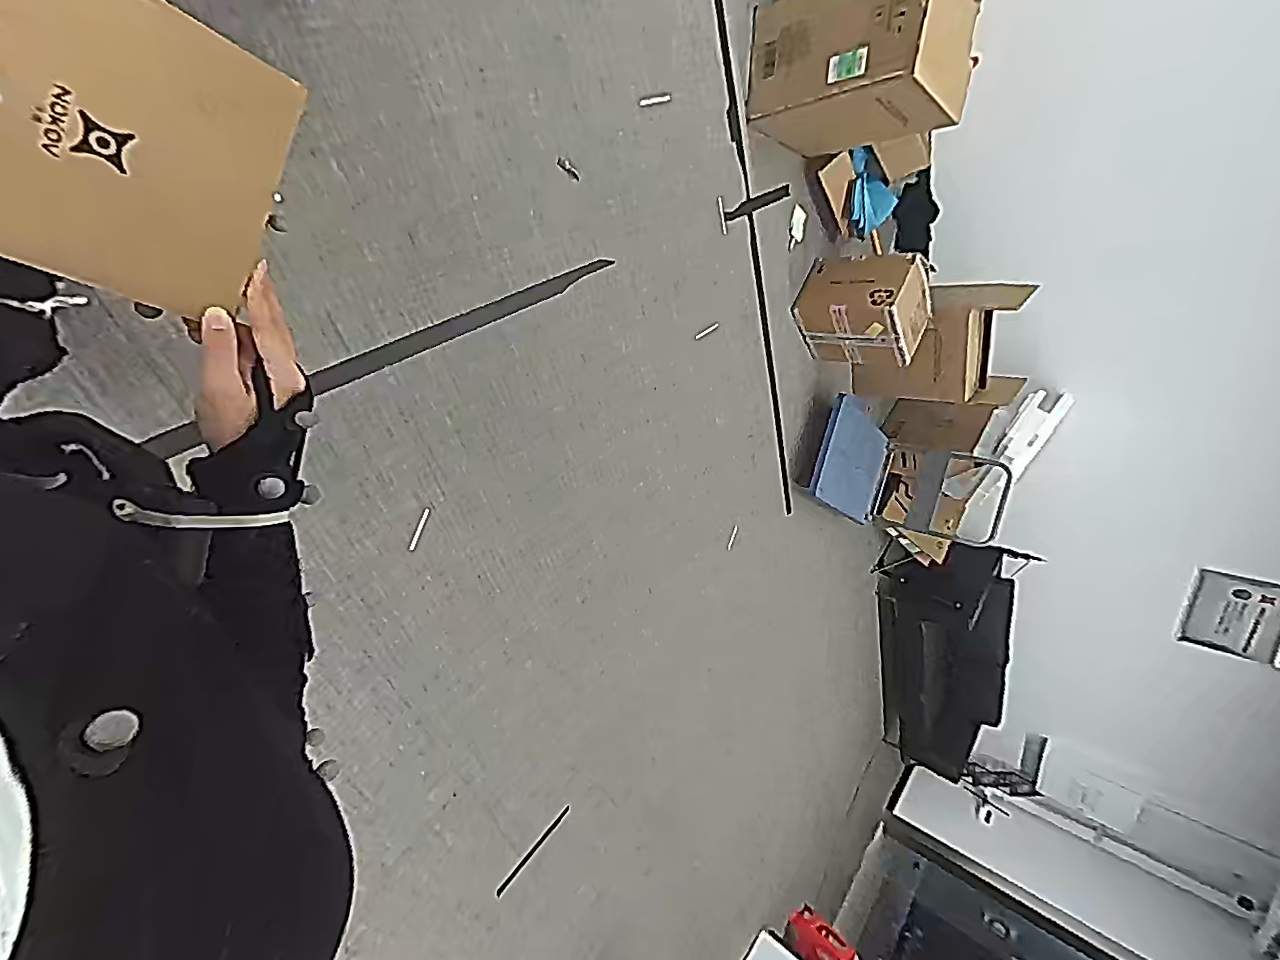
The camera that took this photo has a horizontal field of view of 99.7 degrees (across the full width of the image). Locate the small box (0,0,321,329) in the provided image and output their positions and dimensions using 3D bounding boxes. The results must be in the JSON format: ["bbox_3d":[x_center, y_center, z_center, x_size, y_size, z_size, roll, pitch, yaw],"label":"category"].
[{"bbox_3d":[-0.338,-0.226,0.356,0.179,0.176,0.168,18,104,-40],"label":"small box"}]
